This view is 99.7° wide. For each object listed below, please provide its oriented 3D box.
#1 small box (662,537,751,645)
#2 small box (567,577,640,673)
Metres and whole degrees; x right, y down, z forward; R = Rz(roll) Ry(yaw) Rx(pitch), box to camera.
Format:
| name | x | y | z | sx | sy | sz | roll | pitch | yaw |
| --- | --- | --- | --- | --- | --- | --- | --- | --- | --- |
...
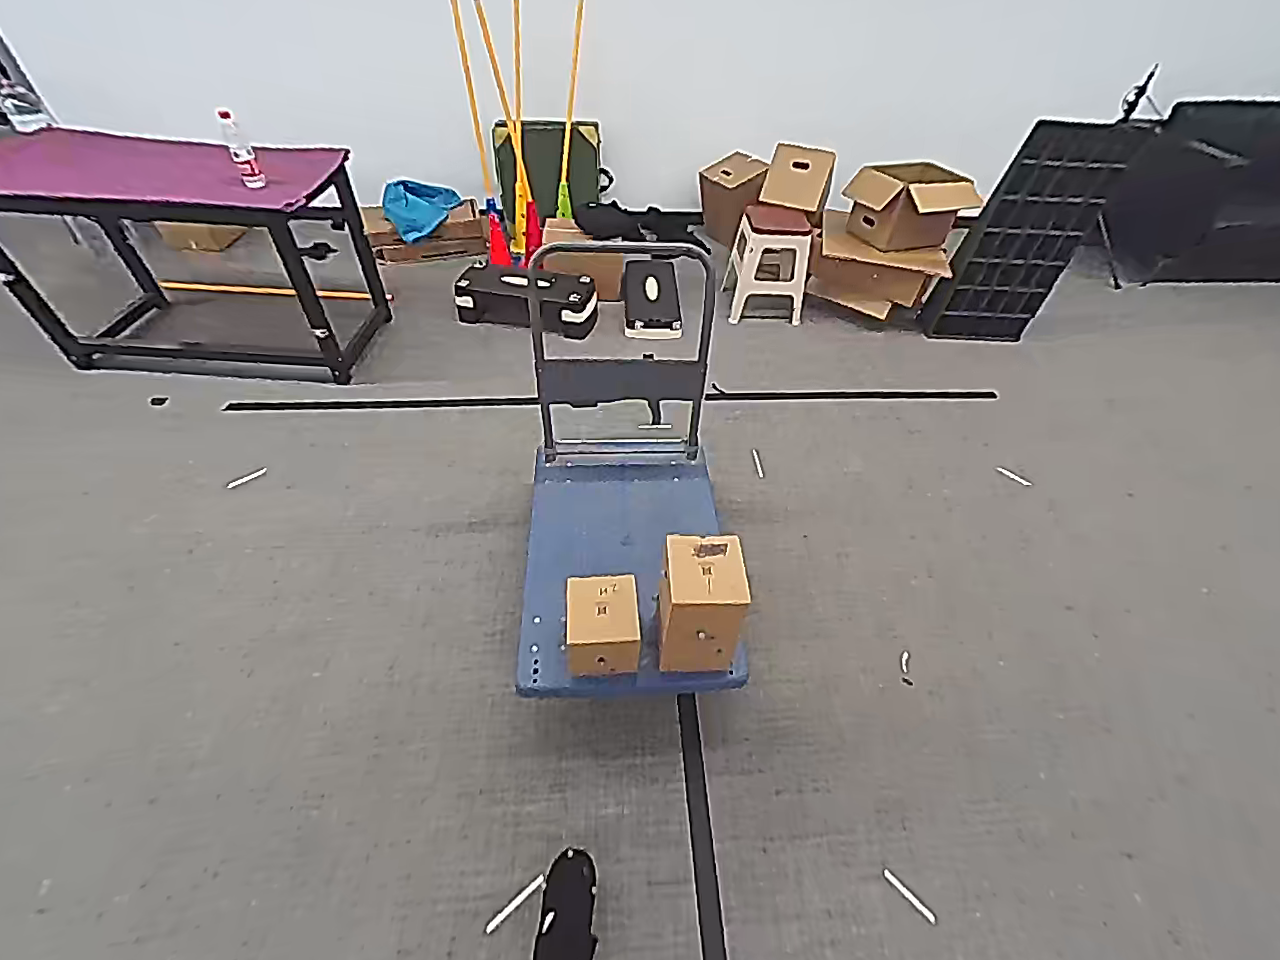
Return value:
| name | x | y | z | sx | sy | sz | roll | pitch | yaw |
| --- | --- | --- | --- | --- | --- | --- | --- | --- | --- |
| small box | 0.139 | 0.248 | 1.207 | 0.168 | 0.176 | 0.179 | 1 | 47 | -3 |
| small box | -0.090 | 0.357 | 1.313 | 0.168 | 0.176 | 0.179 | -1 | 46 | -6 |
